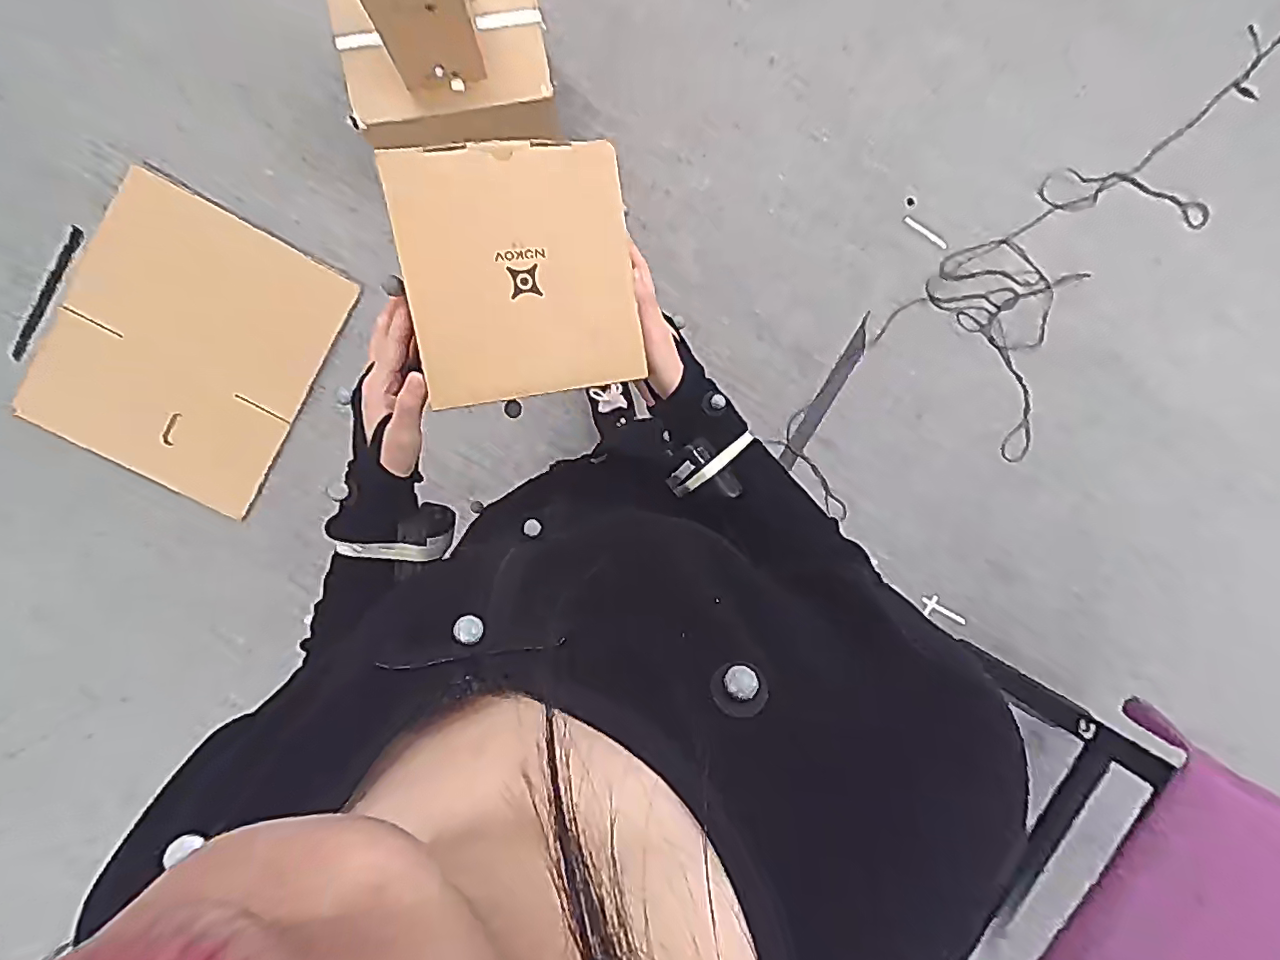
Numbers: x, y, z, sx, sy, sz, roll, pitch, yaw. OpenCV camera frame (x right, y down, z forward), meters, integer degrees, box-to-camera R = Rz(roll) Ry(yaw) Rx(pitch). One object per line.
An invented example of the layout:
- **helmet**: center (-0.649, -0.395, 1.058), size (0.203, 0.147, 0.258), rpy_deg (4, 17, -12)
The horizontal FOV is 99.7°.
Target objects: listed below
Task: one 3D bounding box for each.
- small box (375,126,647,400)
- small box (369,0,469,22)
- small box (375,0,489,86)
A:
- **small box**: center (-0.105, -0.166, 0.462), size (0.168, 0.176, 0.179), rpy_deg (-12, 99, -14)
- **small box**: center (-0.378, -0.866, 0.831), size (0.168, 0.176, 0.179), rpy_deg (-11, 95, -3)
- **small box**: center (-0.390, -0.877, 0.995), size (0.168, 0.176, 0.179), rpy_deg (-12, 96, -3)
